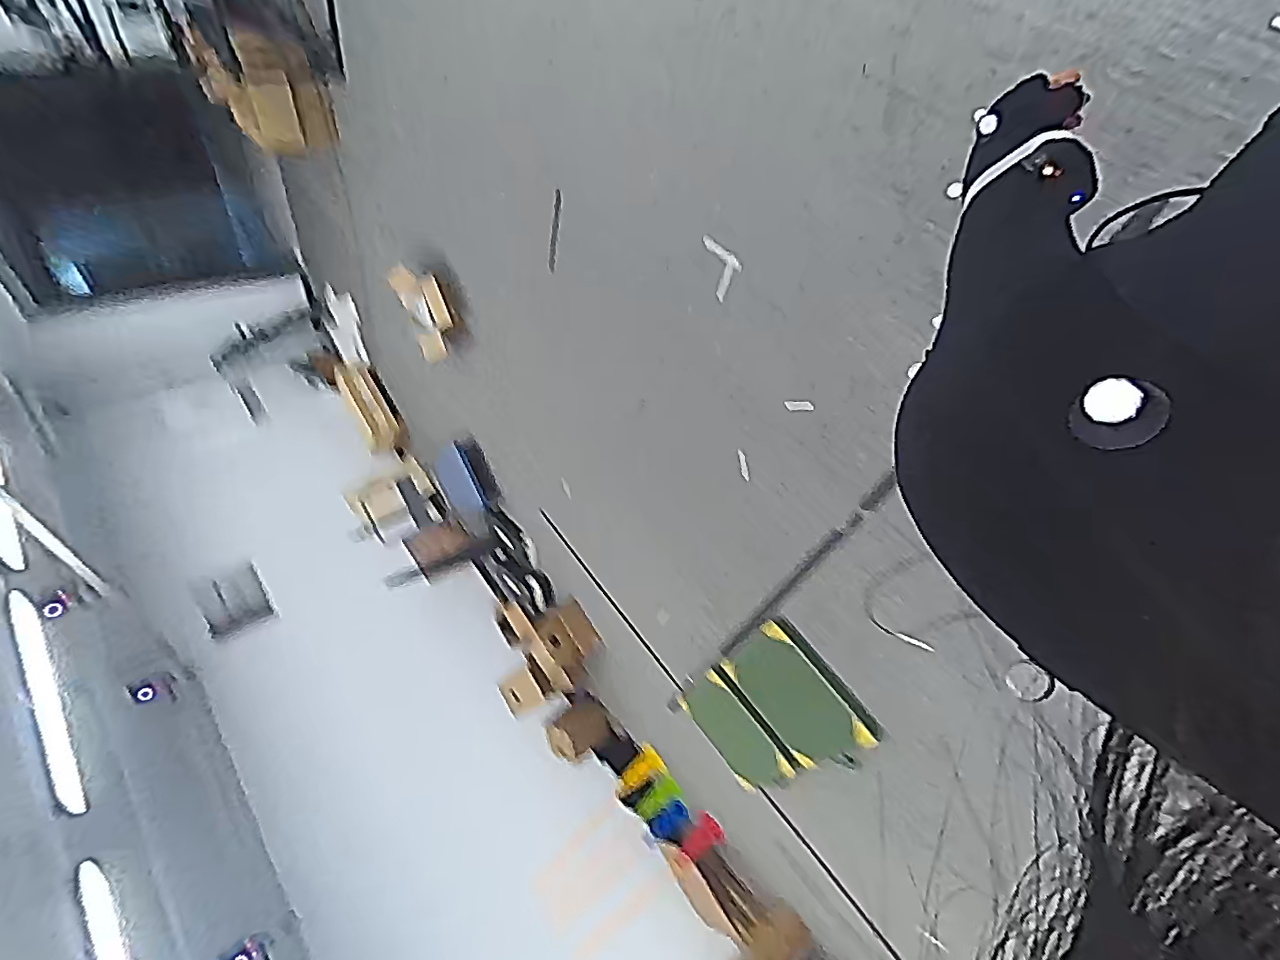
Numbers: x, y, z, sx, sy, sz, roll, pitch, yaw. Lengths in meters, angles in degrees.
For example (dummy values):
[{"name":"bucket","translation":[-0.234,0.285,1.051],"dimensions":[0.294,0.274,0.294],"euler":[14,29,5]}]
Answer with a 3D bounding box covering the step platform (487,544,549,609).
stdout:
[{"name":"step platform","translation":[-1.047,0.812,4.577],"dimensions":[0.684,0.204,0.286],"euler":[25,132,42]}]
